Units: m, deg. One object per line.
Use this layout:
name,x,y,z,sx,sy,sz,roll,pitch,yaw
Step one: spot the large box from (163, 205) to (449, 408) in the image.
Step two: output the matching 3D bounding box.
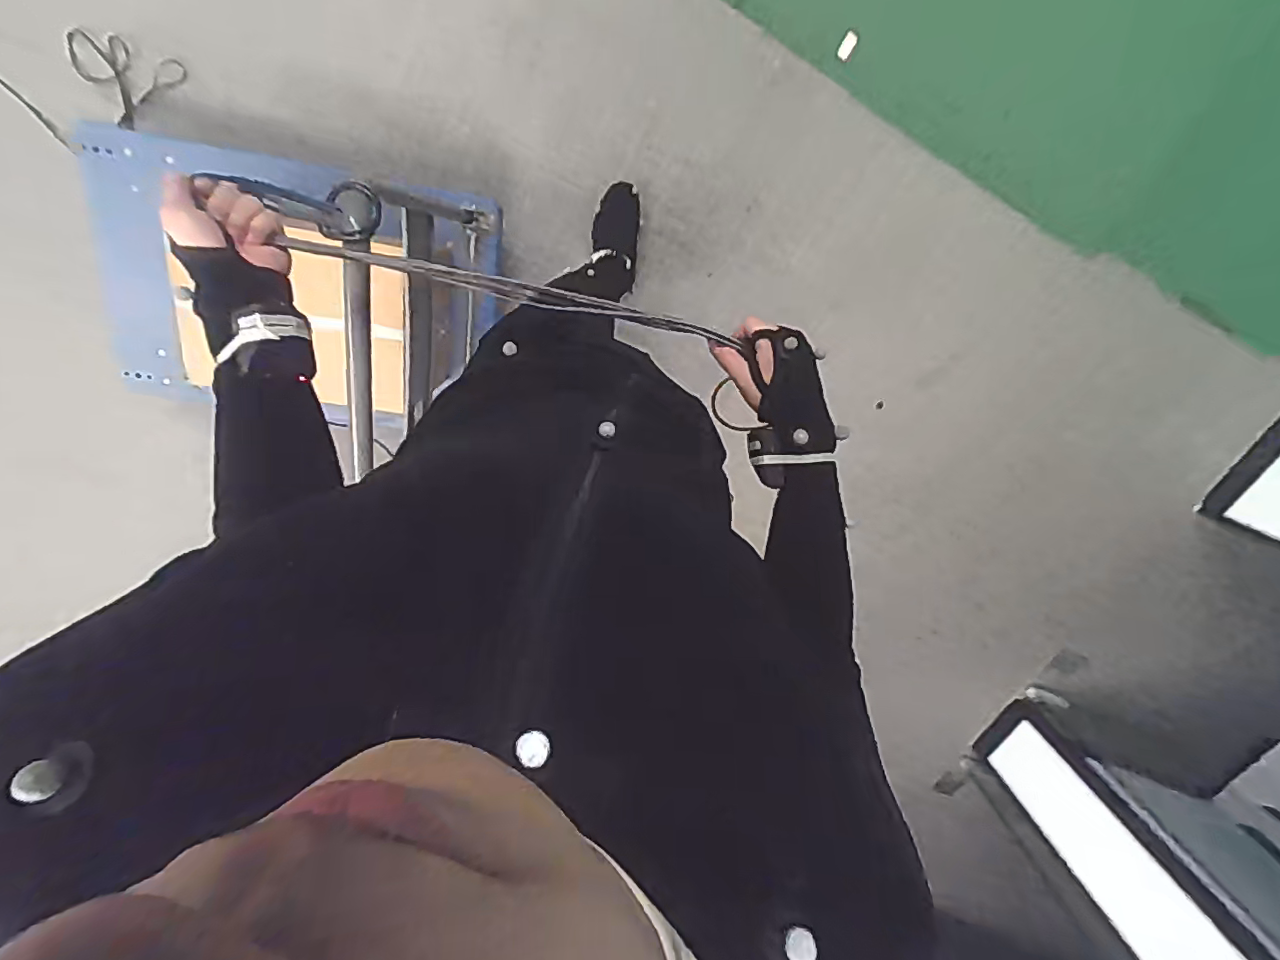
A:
large box,-0.640,-0.362,1.125,0.408,0.320,0.320,8,112,-6
